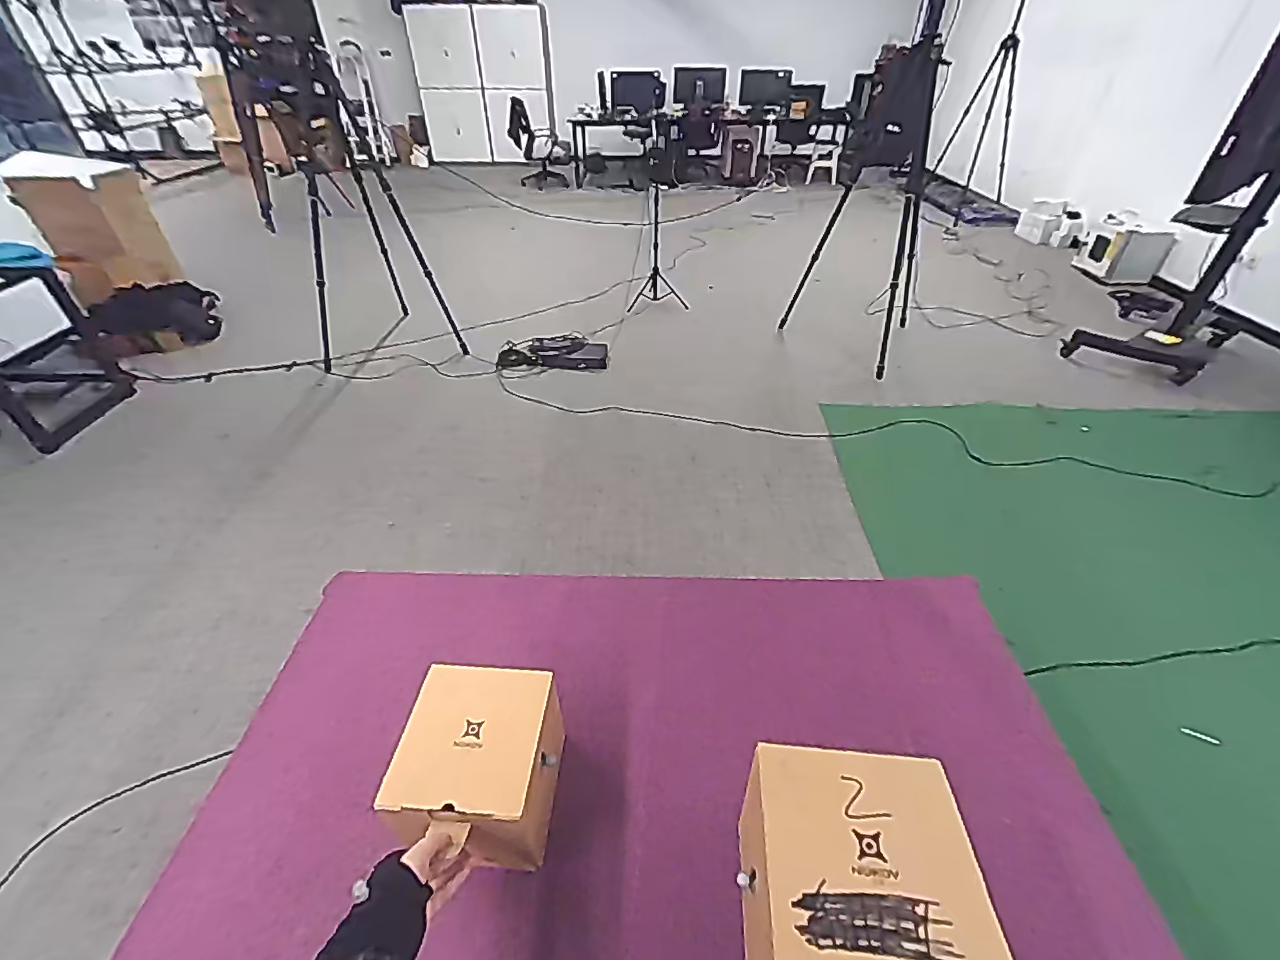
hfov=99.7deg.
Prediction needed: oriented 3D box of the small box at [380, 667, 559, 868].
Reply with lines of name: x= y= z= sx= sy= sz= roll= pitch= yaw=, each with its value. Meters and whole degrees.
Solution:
small box: x=-0.204 y=0.374 z=0.709 sx=0.168 sy=0.176 sz=0.179 roll=3 pitch=40 yaw=3
